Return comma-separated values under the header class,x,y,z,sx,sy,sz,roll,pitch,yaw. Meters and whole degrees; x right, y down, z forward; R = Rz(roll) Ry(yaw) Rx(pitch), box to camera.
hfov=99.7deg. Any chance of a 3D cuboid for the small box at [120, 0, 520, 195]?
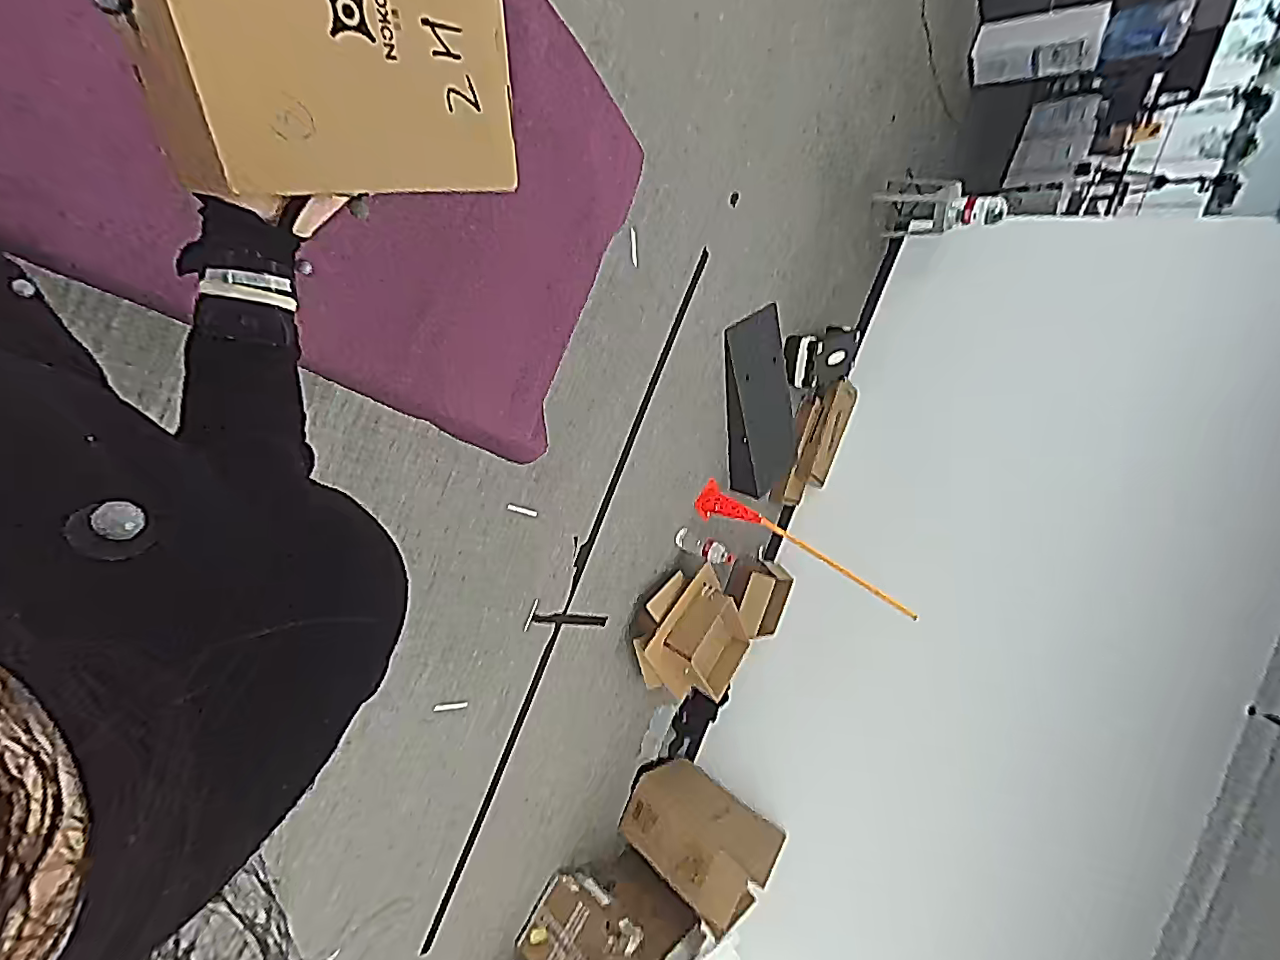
class,x,y,z,sx,sy,sz,roll,pitch,yaw
small box,-0.203,-0.274,0.342,0.179,0.176,0.168,-27,130,-38
